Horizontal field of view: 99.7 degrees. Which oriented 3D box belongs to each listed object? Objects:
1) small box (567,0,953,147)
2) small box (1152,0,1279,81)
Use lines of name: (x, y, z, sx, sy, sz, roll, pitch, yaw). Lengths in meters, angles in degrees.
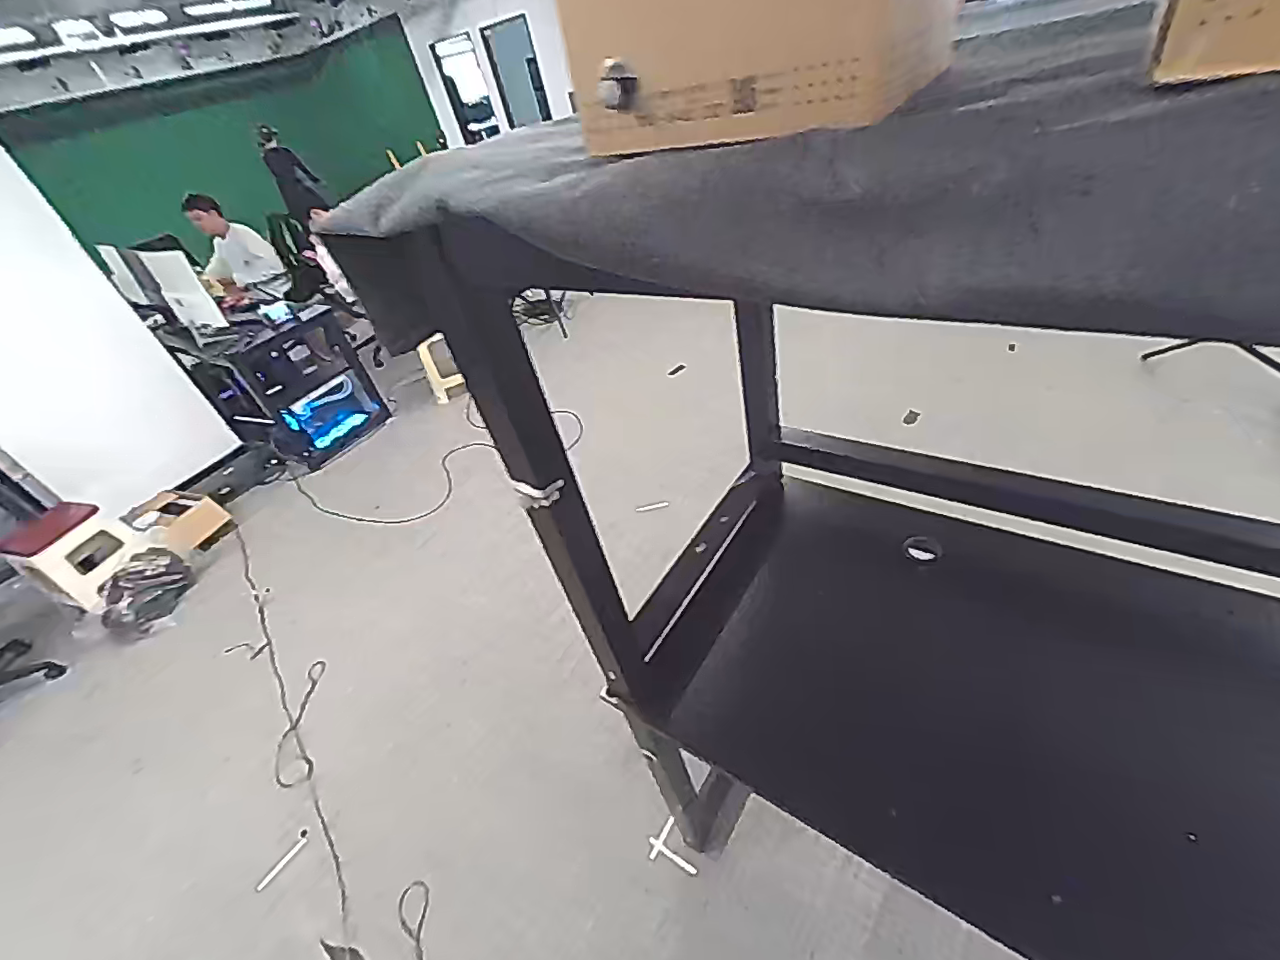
small box: (0.068, -0.286, 0.282, 0.168, 0.176, 0.179, 15, 45, 31)
small box: (0.278, -0.229, 0.148, 0.168, 0.176, 0.179, 16, 47, 33)
